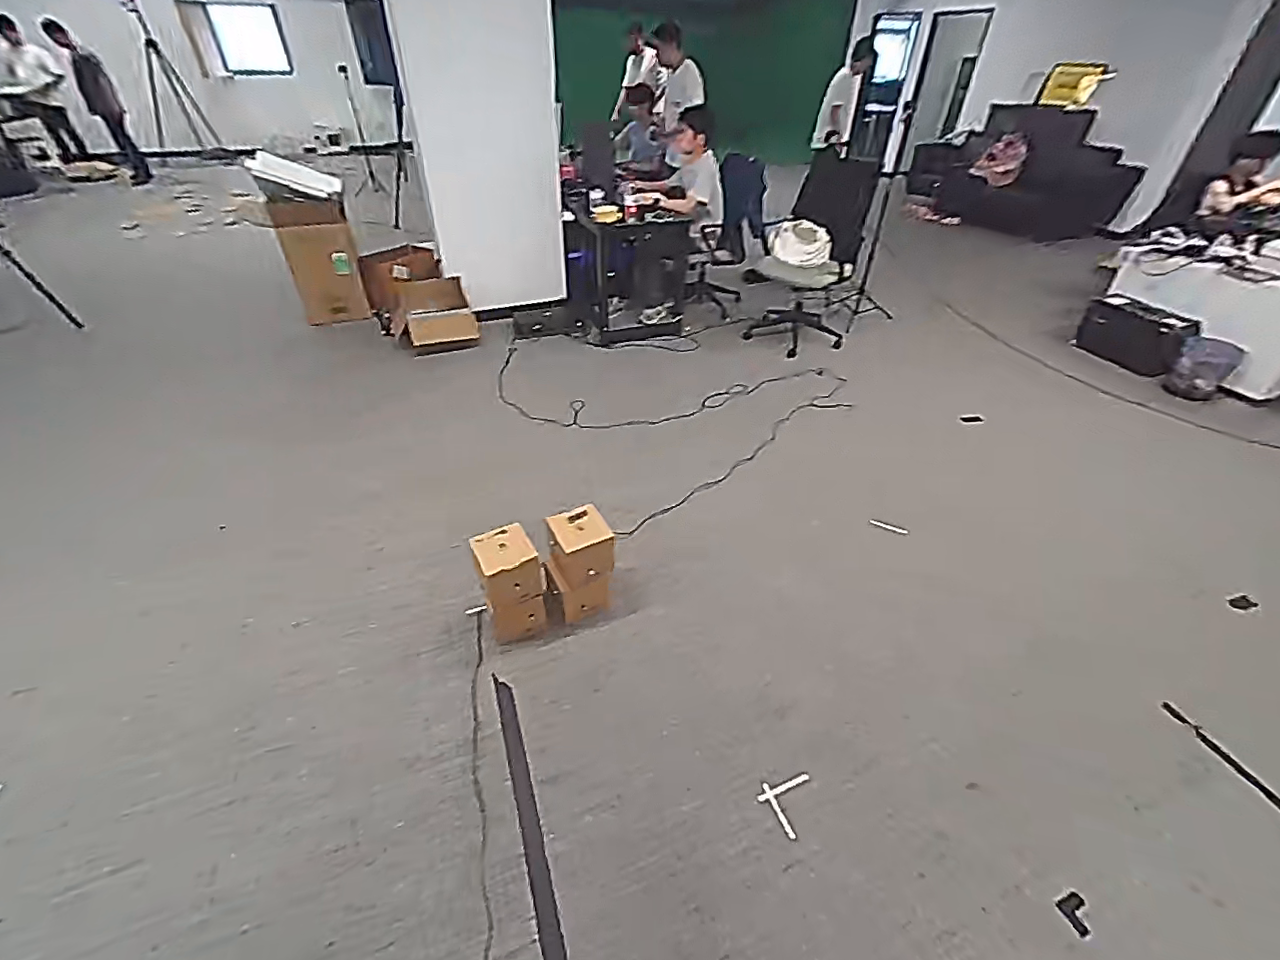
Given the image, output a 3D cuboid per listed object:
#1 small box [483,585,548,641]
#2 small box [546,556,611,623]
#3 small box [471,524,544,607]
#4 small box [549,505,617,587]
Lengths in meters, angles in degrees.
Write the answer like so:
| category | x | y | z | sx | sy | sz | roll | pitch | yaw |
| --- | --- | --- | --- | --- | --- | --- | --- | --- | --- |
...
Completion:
| category | x | y | z | sx | sy | sz | roll | pitch | yaw |
| --- | --- | --- | --- | --- | --- | --- | --- | --- | --- |
| small box | -0.411 | 0.406 | 1.786 | 0.168 | 0.176 | 0.179 | -16 | 41 | -21 |
| small box | -0.211 | 0.354 | 1.854 | 0.168 | 0.176 | 0.179 | -19 | 43 | -23 |
| small box | -0.410 | 0.273 | 1.688 | 0.168 | 0.176 | 0.179 | -19 | 43 | -24 |
| small box | -0.187 | 0.216 | 1.764 | 0.168 | 0.176 | 0.179 | -18 | 44 | -23 |
